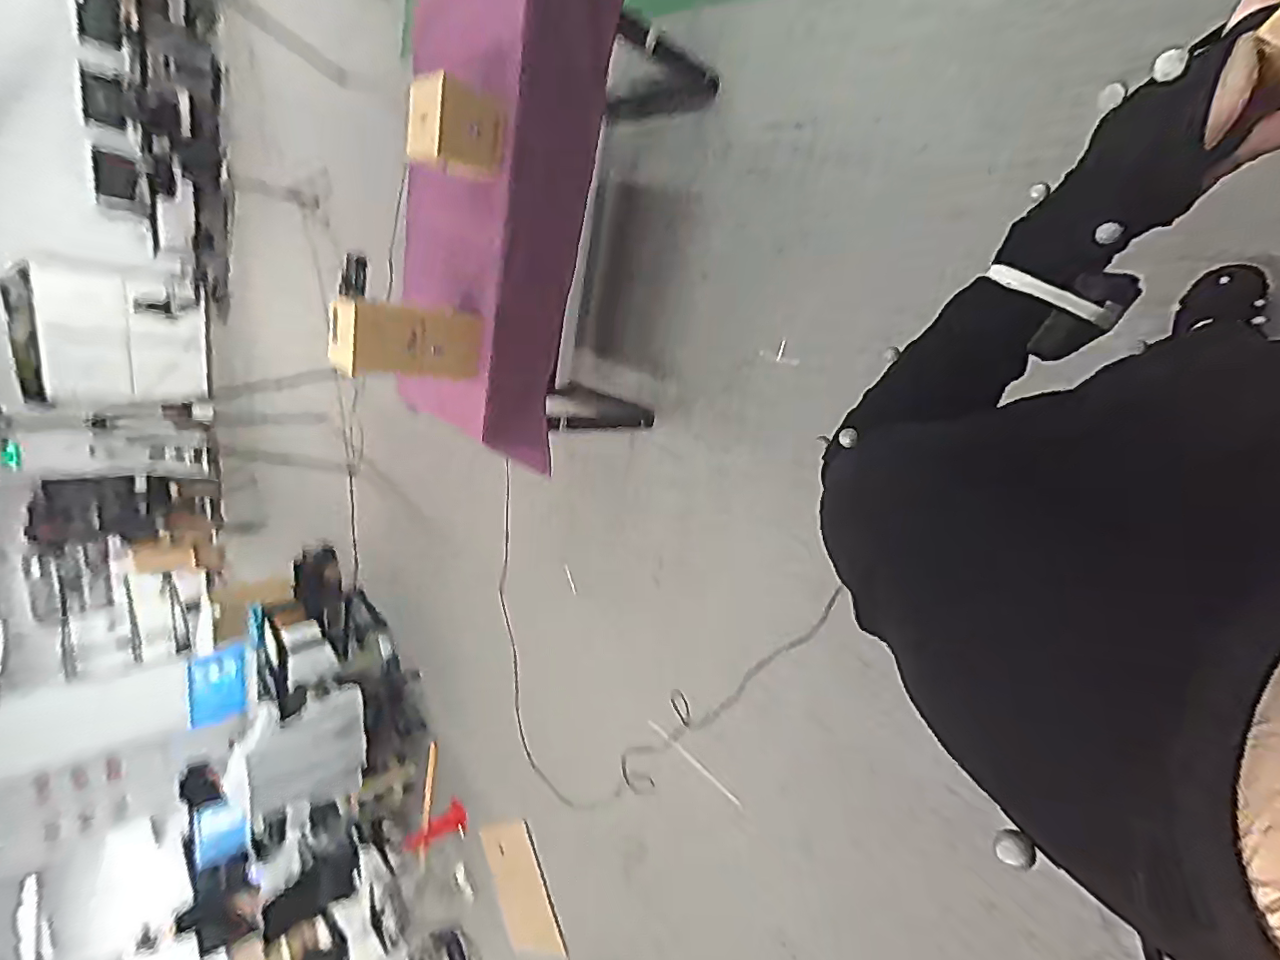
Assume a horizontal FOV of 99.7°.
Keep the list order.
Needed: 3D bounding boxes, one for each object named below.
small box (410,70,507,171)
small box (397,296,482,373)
[{"bbox_3d":[-0.451,-0.888,1.349,0.179,0.176,0.168,29,114,39],"label":"small box"},{"bbox_3d":[-0.561,-0.403,1.514,0.168,0.176,0.179,28,113,39],"label":"small box"}]
